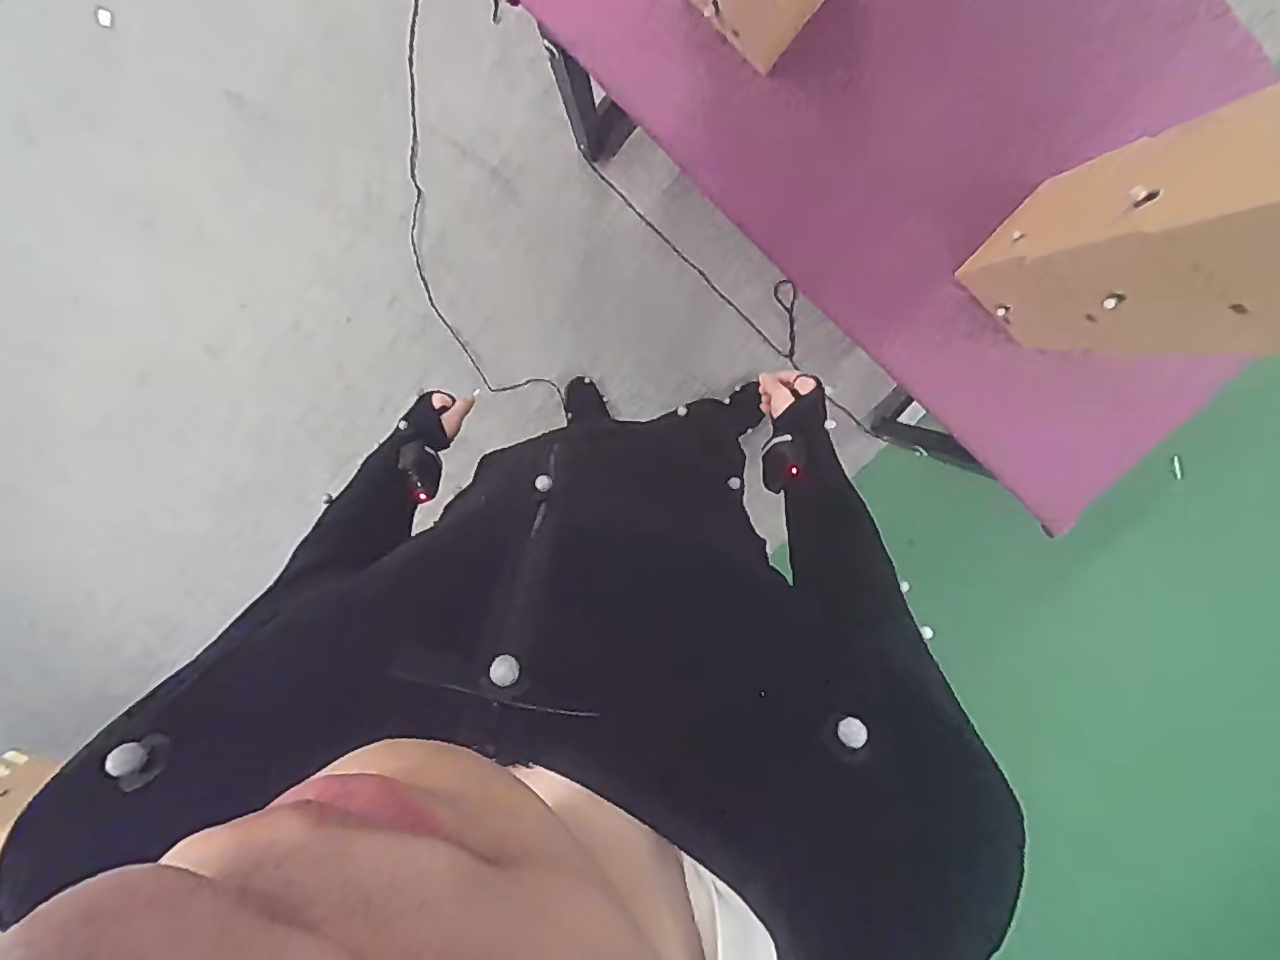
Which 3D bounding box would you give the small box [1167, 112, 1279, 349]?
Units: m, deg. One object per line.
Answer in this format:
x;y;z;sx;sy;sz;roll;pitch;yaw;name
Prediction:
0.582;-0.217;0.407;0.168;0.176;0.179;40;100;-7;small box

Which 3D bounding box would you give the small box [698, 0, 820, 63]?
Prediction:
0.165;-0.663;0.641;0.168;0.176;0.179;41;101;-8;small box

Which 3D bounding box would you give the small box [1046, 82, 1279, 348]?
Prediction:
0.580;-0.257;0.566;0.168;0.176;0.179;41;100;-9;small box
